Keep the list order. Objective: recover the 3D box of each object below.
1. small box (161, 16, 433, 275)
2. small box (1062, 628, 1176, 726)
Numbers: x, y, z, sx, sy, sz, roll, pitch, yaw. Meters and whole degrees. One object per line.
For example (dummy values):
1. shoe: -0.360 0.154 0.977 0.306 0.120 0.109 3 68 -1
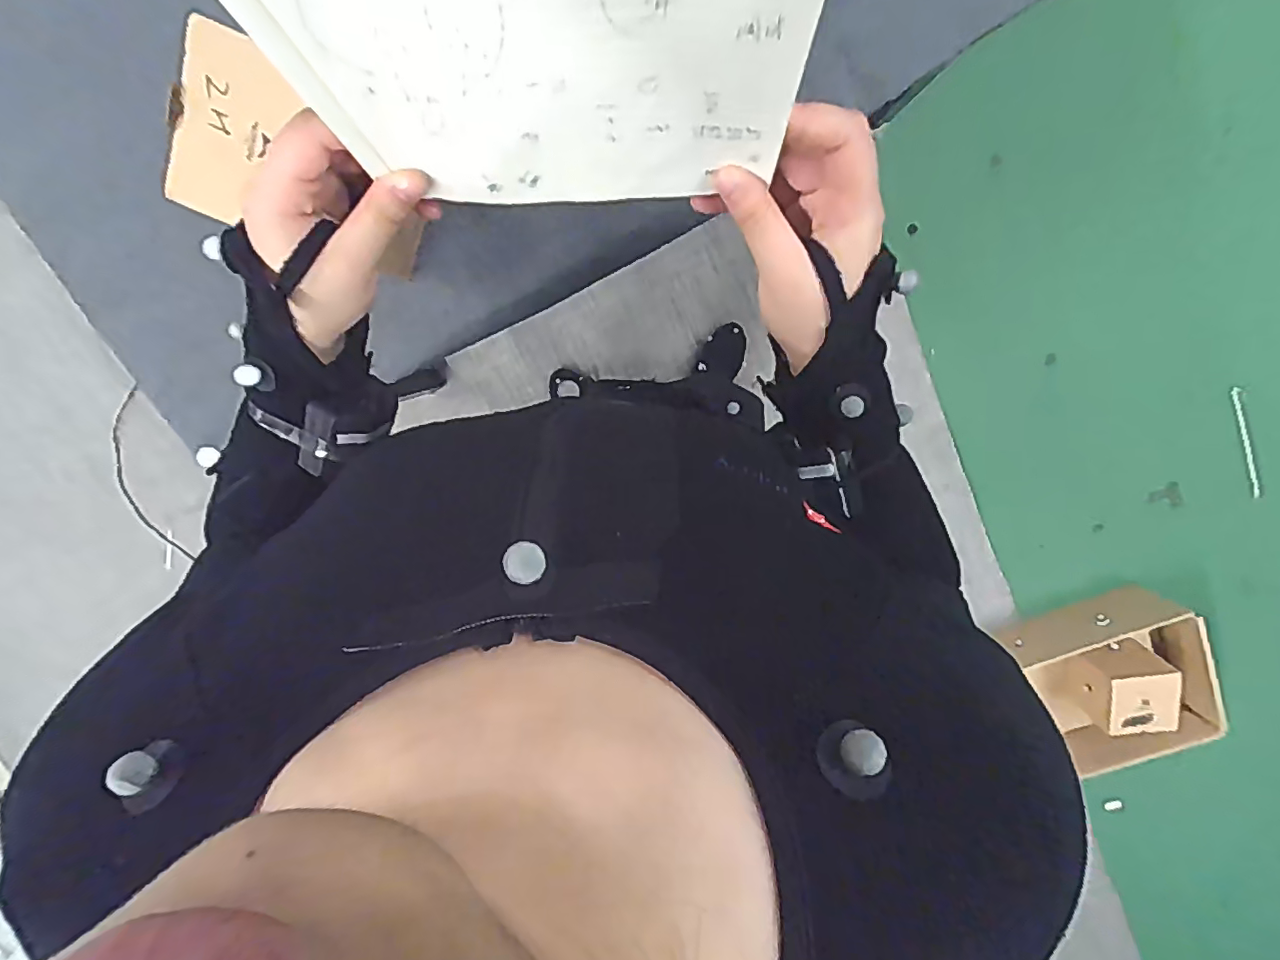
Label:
1. small box: -0.353 -0.336 0.587 0.179 0.176 0.168 22 105 -3
2. small box: 1.282 0.529 1.461 0.168 0.176 0.179 -9 106 6
